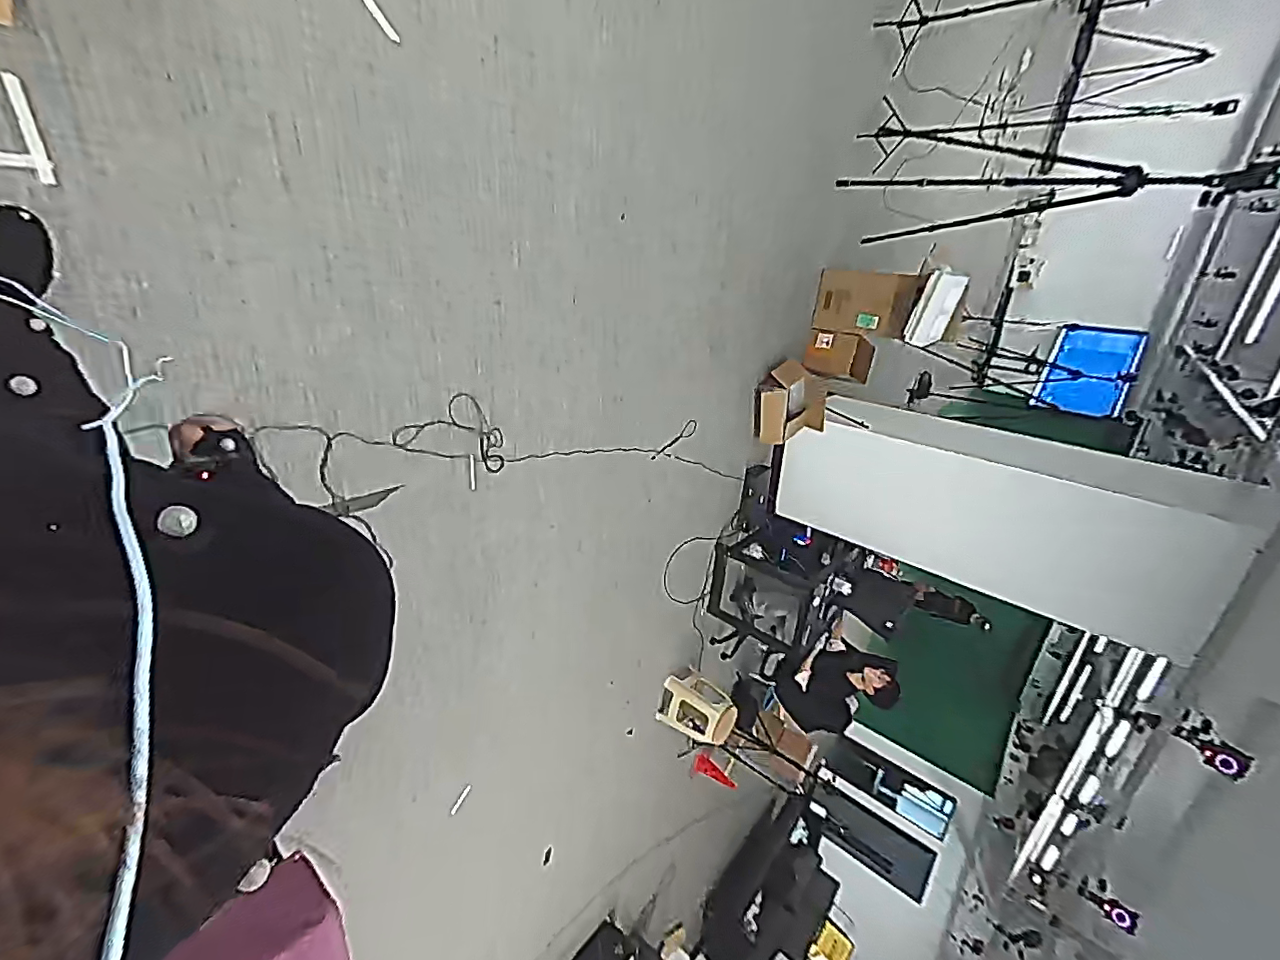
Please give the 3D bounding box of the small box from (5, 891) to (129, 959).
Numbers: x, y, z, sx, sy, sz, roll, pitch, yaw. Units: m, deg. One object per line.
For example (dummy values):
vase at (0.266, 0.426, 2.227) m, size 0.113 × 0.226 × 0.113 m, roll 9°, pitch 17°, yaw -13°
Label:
small box at (-1.361, 1.150, 1.289) m, size 0.179 × 0.176 × 0.168 m, roll -23°, pitch 125°, yaw -45°
